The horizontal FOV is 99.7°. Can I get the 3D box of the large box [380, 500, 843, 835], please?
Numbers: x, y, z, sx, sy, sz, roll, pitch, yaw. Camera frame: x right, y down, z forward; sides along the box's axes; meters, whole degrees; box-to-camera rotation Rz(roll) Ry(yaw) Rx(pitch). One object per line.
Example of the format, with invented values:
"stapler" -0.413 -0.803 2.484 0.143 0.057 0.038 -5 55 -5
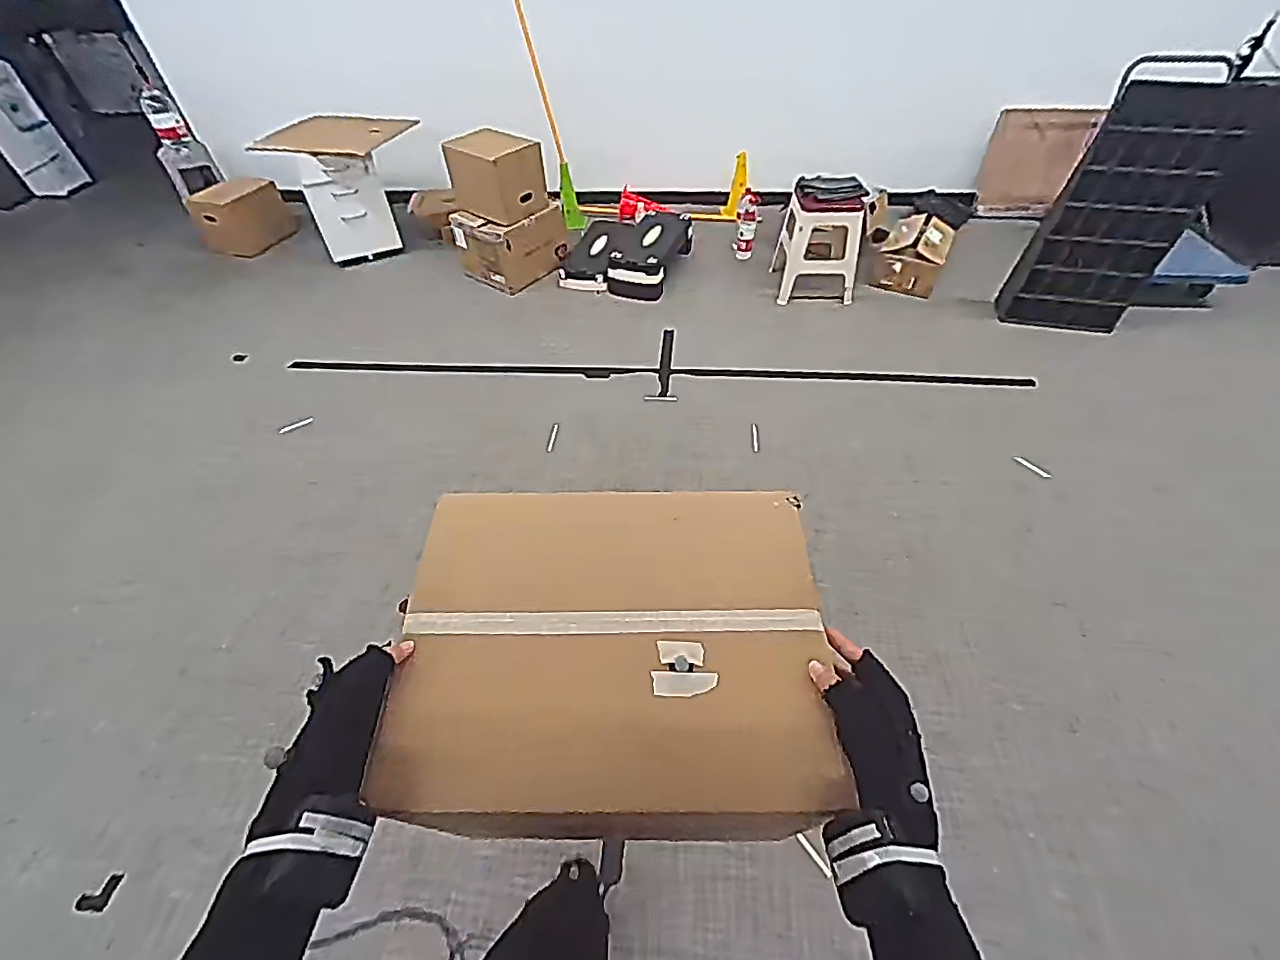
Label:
"large box" -0.025 0.237 0.664 0.408 0.320 0.320 0 54 1
